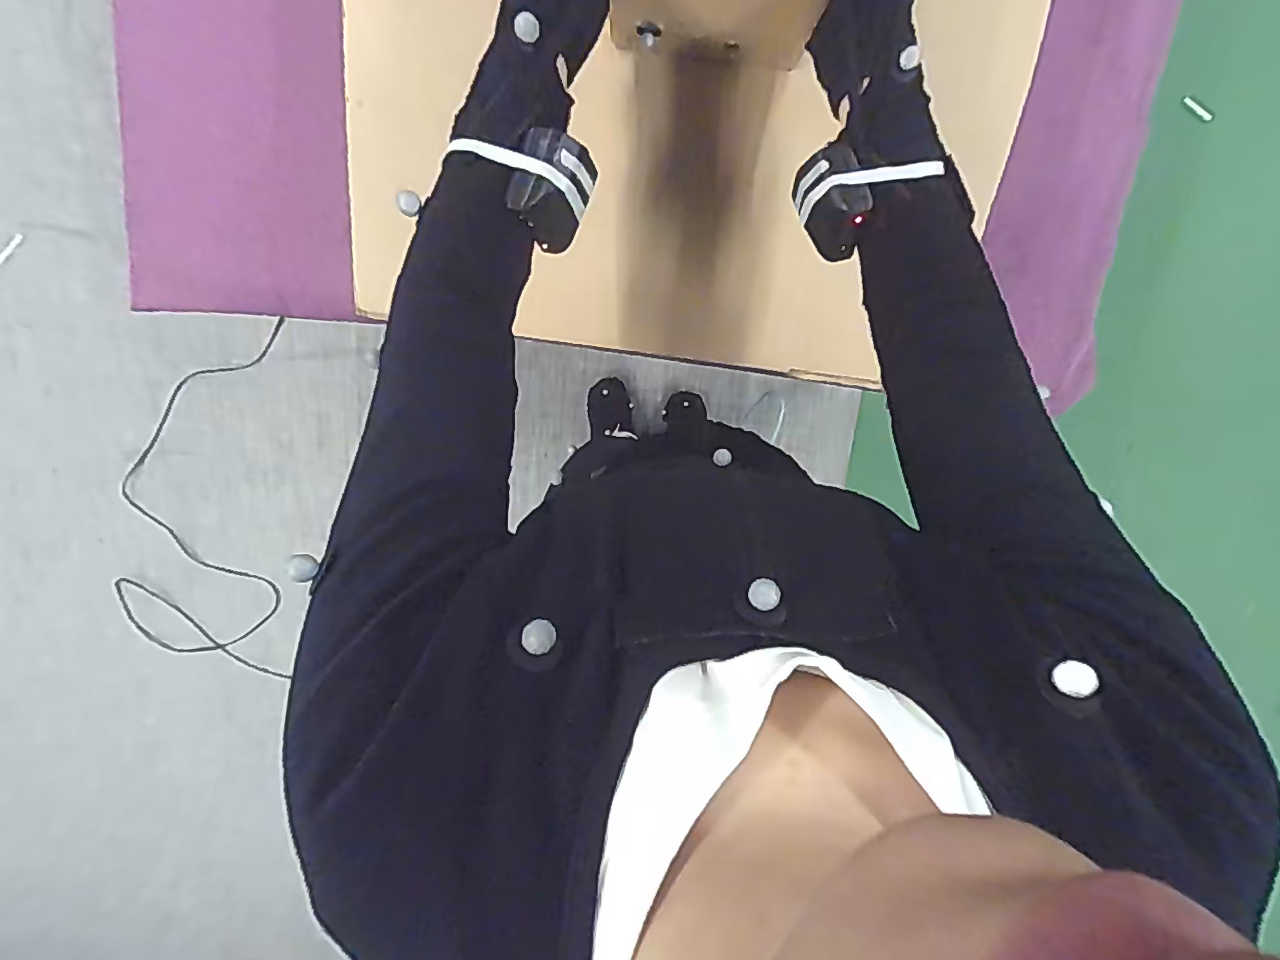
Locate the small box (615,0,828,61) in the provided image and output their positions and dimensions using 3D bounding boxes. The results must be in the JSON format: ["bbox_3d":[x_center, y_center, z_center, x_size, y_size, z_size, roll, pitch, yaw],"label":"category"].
[{"bbox_3d":[0.066,-0.434,0.379,0.168,0.176,0.179,3,103,-1],"label":"small box"}]
